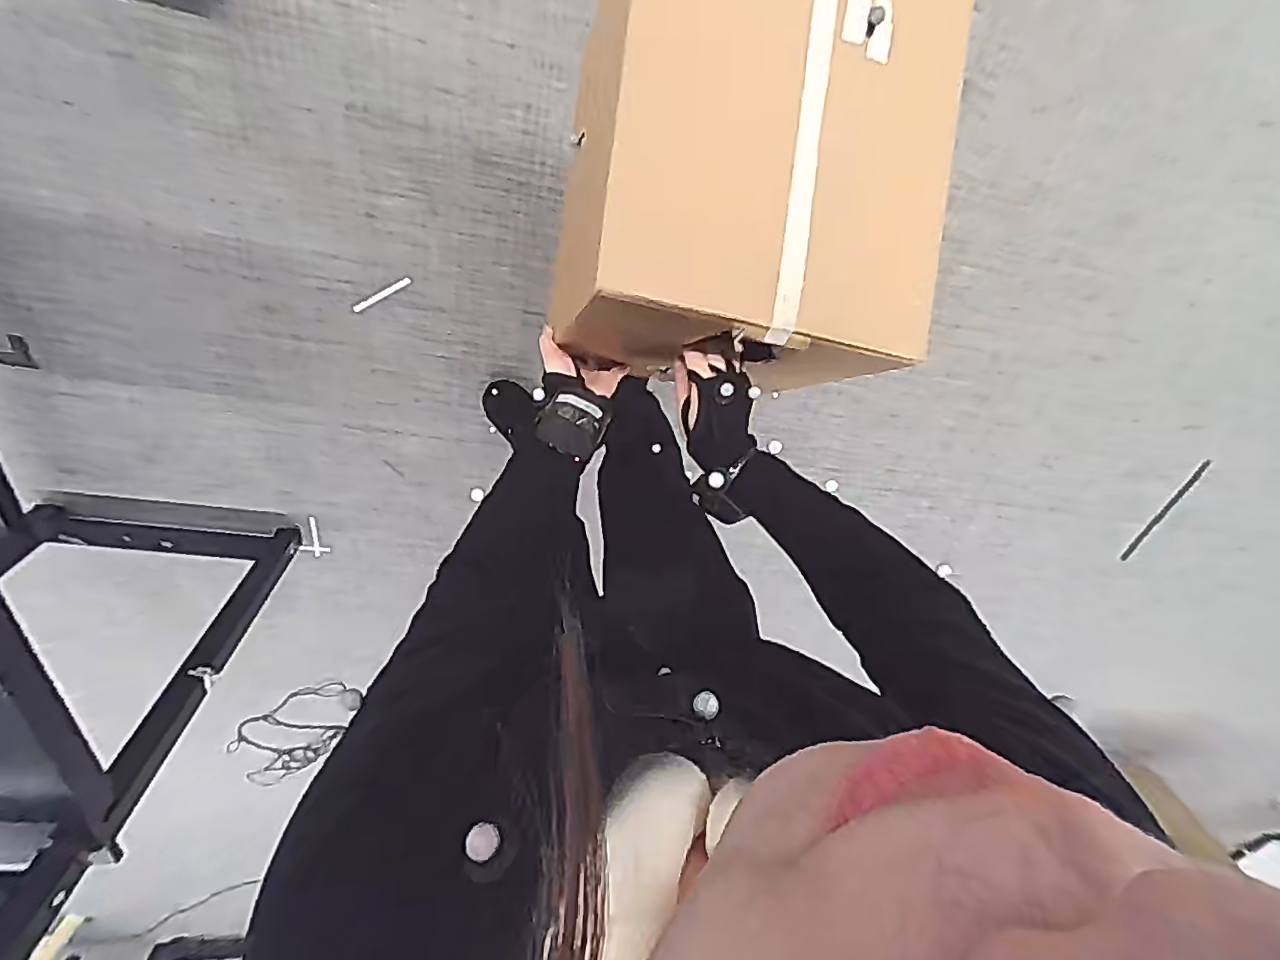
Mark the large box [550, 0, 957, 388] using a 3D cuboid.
[{"bbox_3d":[0.086,-0.333,0.587,0.320,0.320,0.408,6,91,-18],"label":"large box"}]
